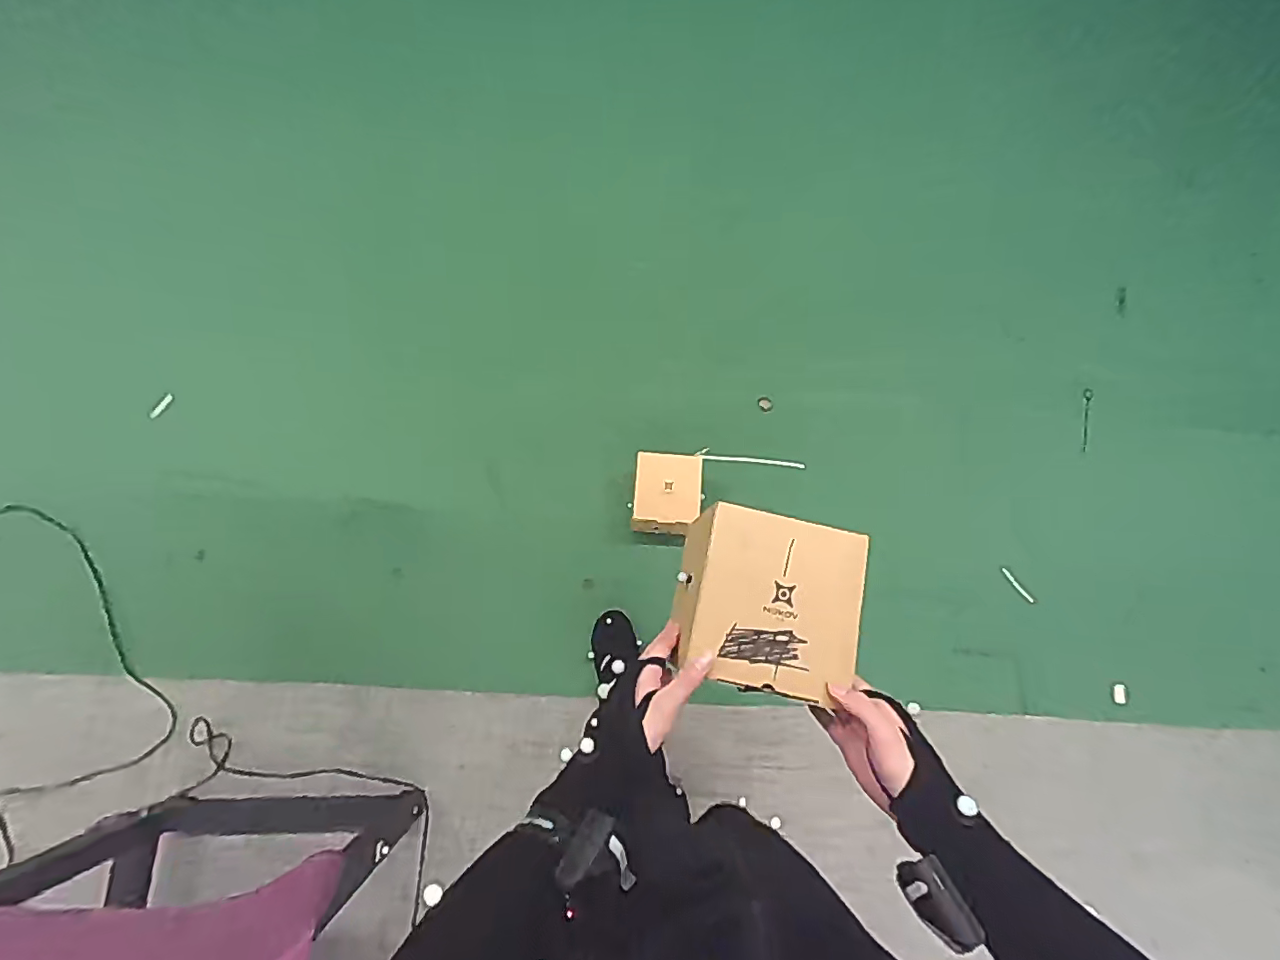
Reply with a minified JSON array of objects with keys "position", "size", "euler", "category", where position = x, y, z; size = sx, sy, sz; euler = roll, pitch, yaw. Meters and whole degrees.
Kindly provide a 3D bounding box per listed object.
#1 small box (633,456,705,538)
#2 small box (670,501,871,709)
[{"position":[0.070,0.048,1.414],"size":[0.168,0.176,0.179],"euler":[4,76,-3],"category":"small box"},{"position":[0.135,0.140,0.614],"size":[0.168,0.176,0.179],"euler":[13,75,-2],"category":"small box"}]
